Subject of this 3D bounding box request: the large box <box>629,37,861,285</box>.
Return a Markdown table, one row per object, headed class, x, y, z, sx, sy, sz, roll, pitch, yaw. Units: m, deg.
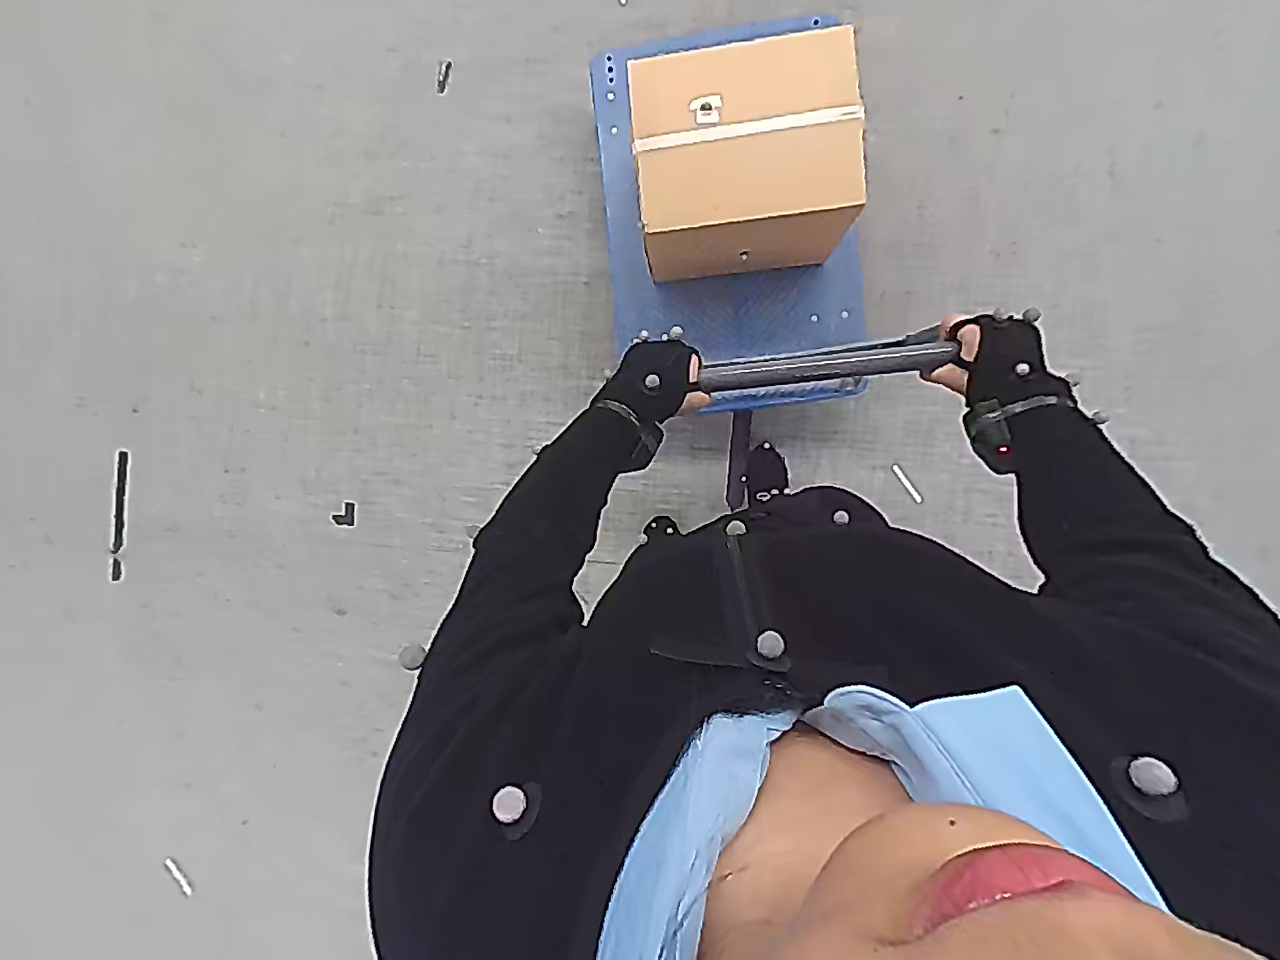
| class | x | y | z | sx | sy | sz | roll | pitch | yaw |
| --- | --- | --- | --- | --- | --- | --- | --- | --- | --- |
| large box | 0.208 | -0.634 | 1.145 | 0.408 | 0.320 | 0.320 | -6 | 92 | 7 |
